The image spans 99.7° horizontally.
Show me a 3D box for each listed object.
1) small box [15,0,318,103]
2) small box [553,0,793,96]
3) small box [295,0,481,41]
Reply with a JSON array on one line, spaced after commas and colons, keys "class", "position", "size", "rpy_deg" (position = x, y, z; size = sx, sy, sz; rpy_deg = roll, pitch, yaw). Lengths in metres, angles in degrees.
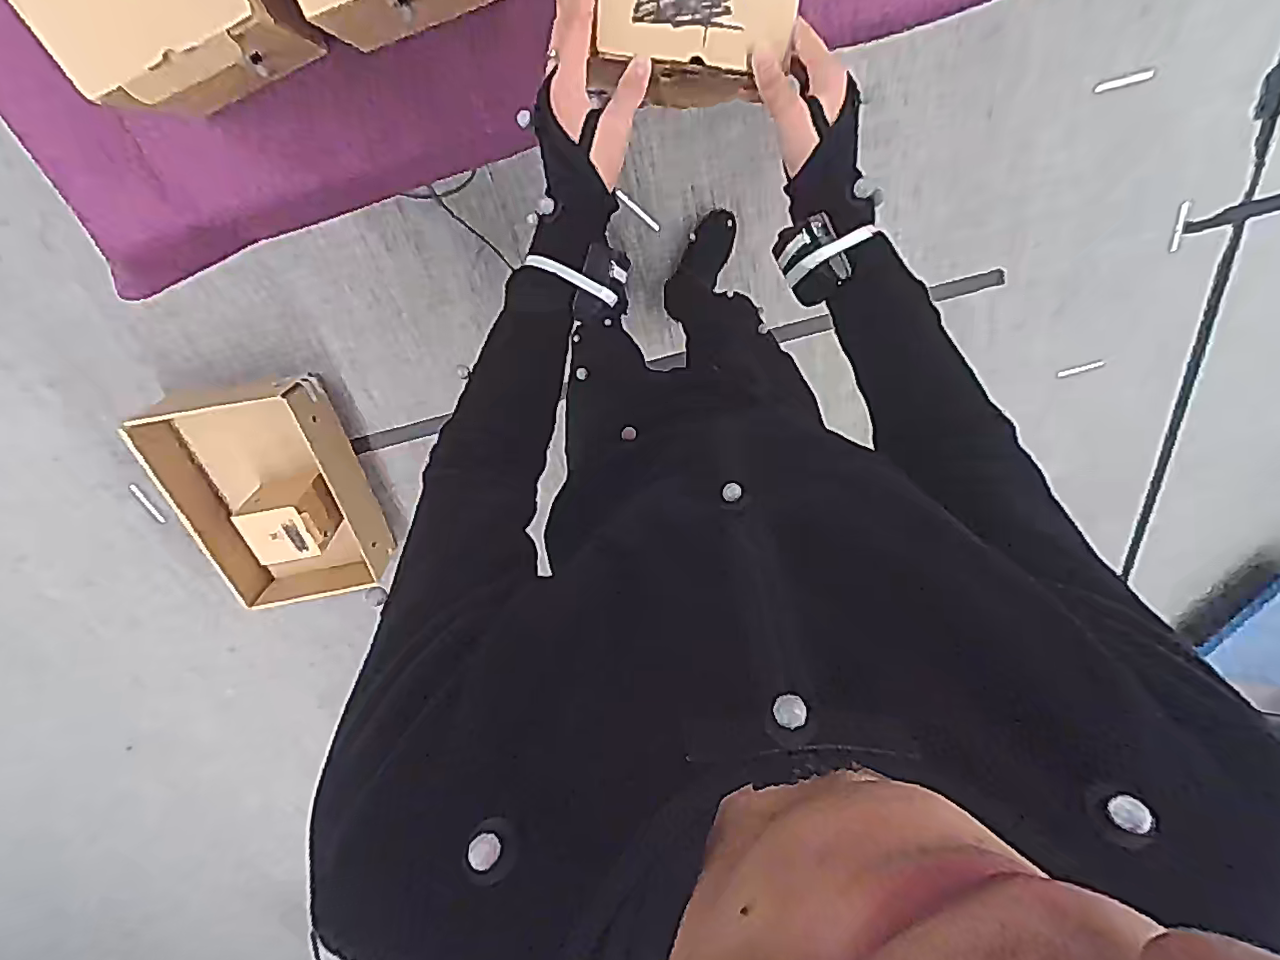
[{"class": "small box", "position": [-0.428, -0.458, 0.473], "size": [0.168, 0.176, 0.179], "rpy_deg": [-23, 121, 4]}, {"class": "small box", "position": [0.021, -0.441, 0.449], "size": [0.168, 0.176, 0.179], "rpy_deg": [-6, 117, -16]}, {"class": "small box", "position": [-0.232, -0.517, 0.467], "size": [0.179, 0.176, 0.168], "rpy_deg": [-20, 122, 2]}]
